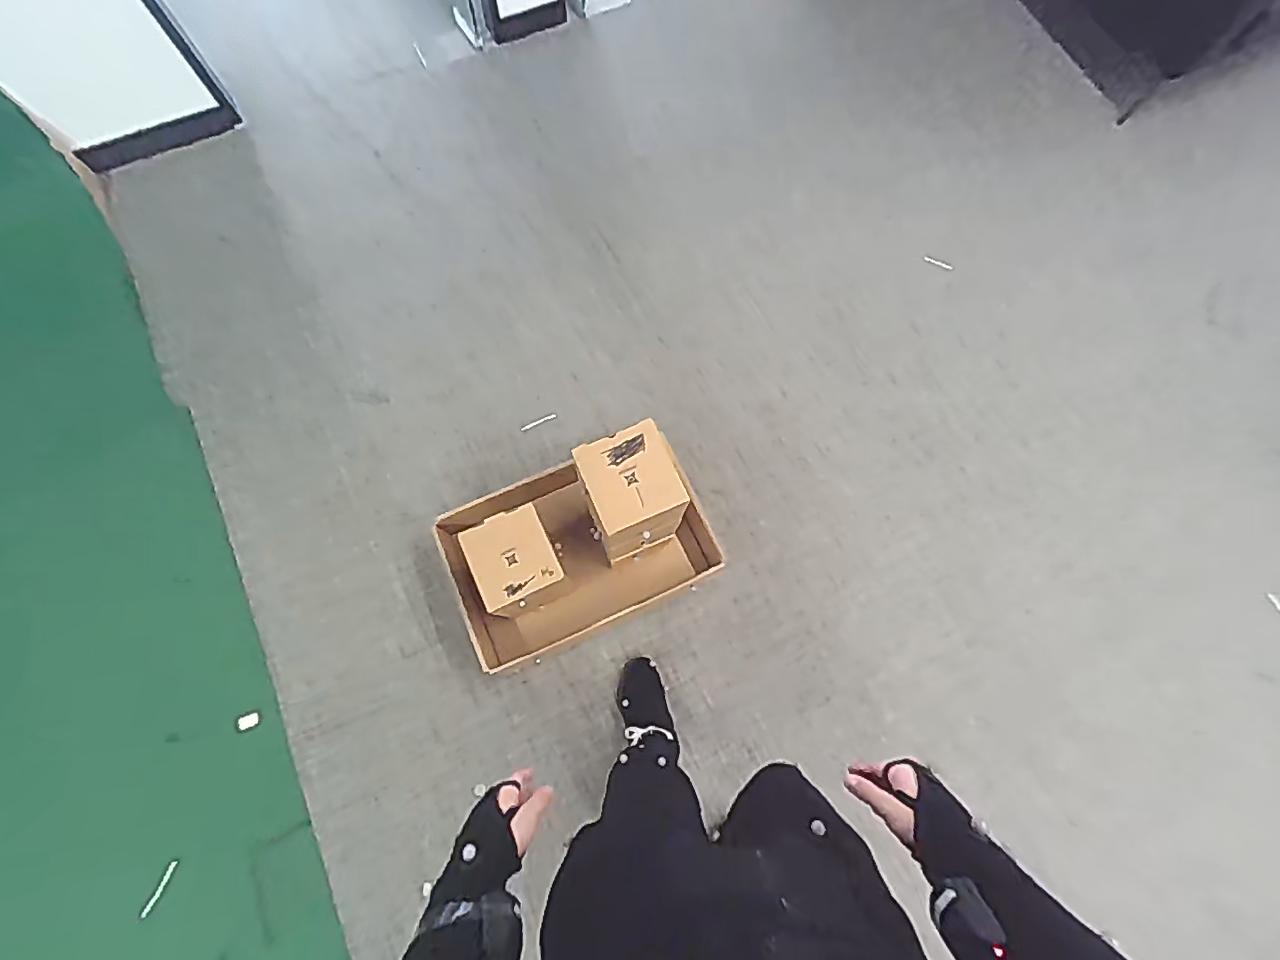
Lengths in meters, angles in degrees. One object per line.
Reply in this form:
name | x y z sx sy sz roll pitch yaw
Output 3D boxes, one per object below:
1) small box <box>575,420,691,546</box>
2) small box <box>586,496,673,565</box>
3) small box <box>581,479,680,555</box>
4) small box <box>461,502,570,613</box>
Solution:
small box | -0.018 0.013 1.060 0.168 0.176 0.179 -23 77 -7
small box | -0.026 0.107 1.375 0.168 0.176 0.179 -22 76 -7
small box | -0.021 0.060 1.218 0.168 0.176 0.179 -22 76 -8
small box | -0.262 0.174 1.171 0.168 0.176 0.179 -24 76 -9
